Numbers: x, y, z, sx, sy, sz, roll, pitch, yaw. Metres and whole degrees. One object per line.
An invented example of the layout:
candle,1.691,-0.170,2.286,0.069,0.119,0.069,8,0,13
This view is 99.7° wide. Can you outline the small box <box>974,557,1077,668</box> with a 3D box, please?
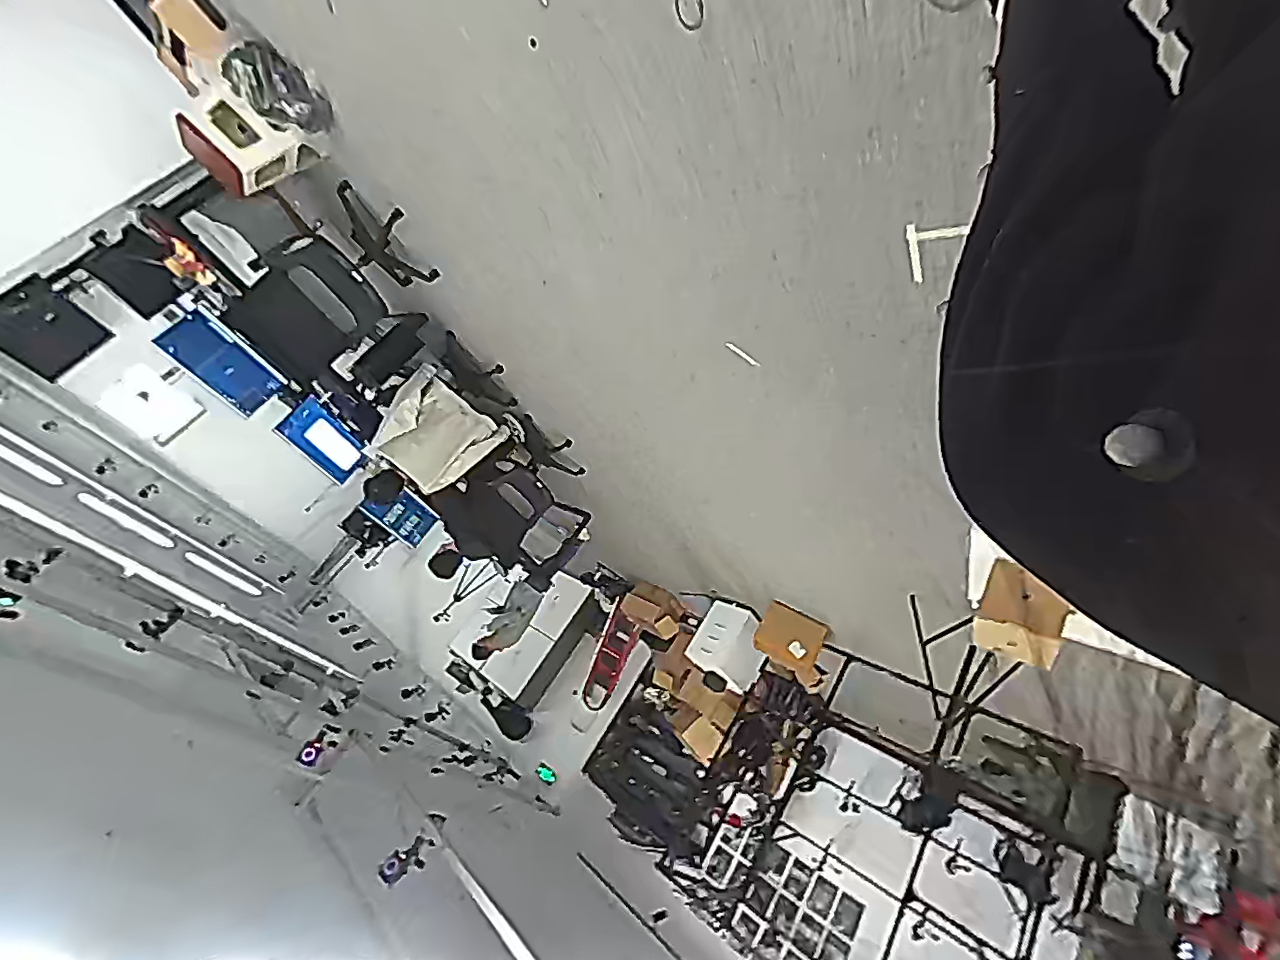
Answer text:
small box,0.919,0.310,1.293,0.168,0.176,0.179,17,151,39
